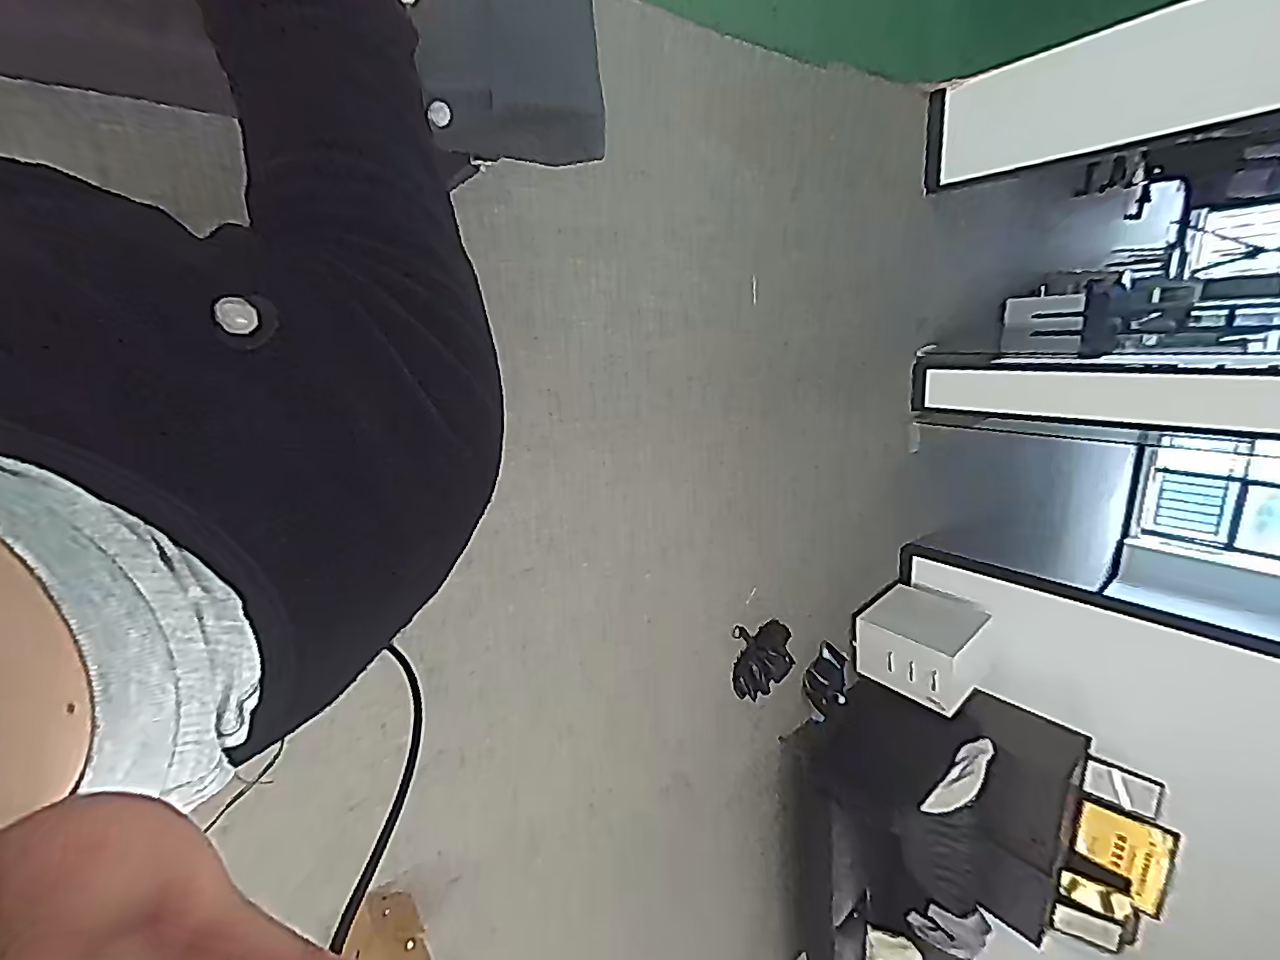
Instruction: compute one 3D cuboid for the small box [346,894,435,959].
[{"bbox_3d":[-0.767,1.403,1.647,0.168,0.176,0.179,36,78,-38],"label":"small box"}]
